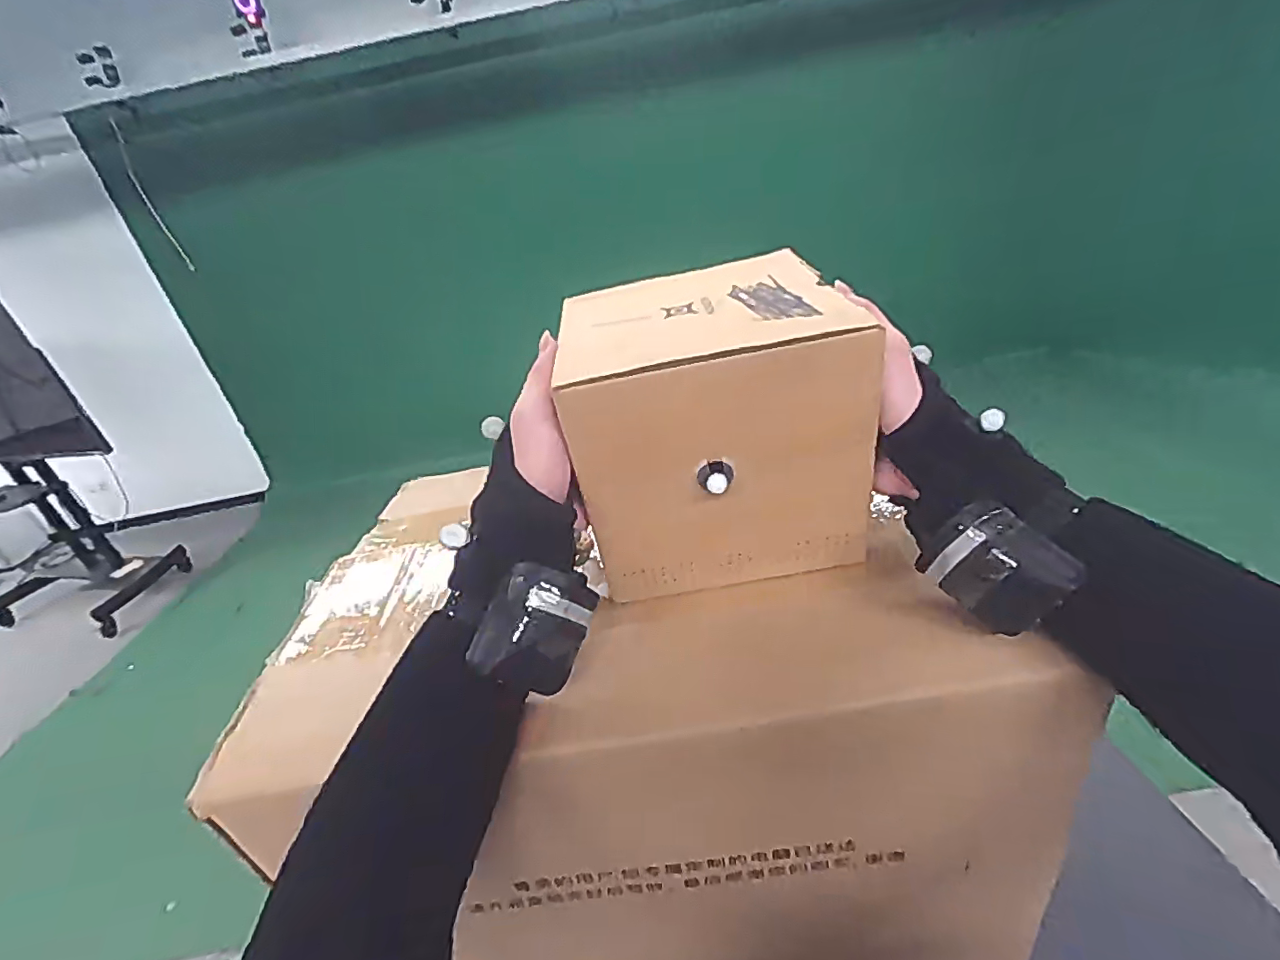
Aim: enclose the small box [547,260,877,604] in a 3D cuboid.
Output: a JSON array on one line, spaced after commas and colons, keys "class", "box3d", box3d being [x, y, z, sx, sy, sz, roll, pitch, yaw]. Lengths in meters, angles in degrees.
[{"class": "small box", "box3d": [0.046, -0.036, 0.387, 0.179, 0.176, 0.168, -11, 34, 3]}]
